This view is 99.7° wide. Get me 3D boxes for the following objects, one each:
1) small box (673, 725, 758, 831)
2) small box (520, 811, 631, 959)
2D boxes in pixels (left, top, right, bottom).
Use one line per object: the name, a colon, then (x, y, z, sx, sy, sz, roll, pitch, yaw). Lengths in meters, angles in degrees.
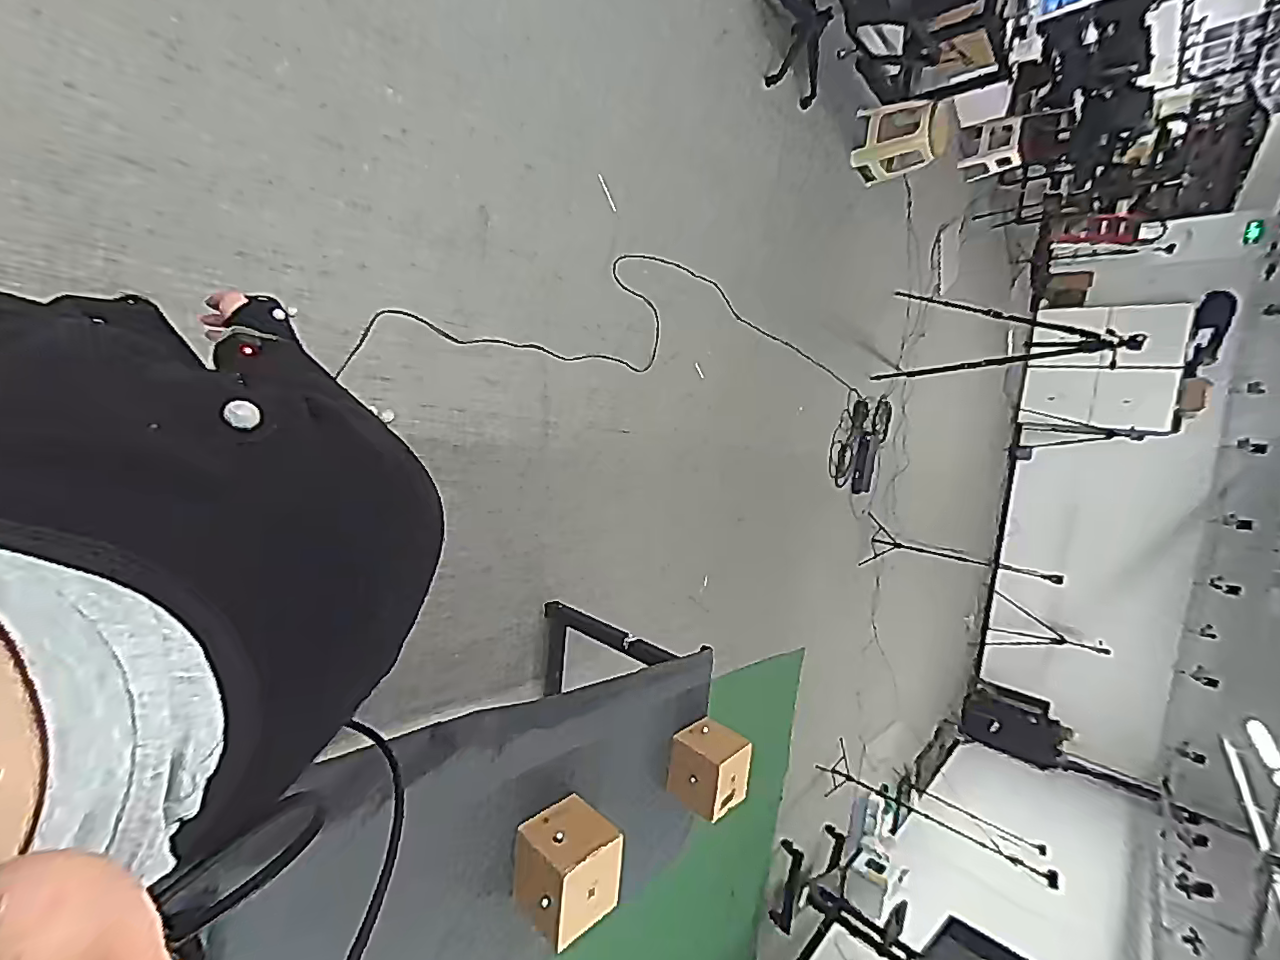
small box: (0.211, 0.836, 1.537, 0.168, 0.176, 0.179, -1, 98, -48)
small box: (-0.141, 0.851, 1.158, 0.168, 0.176, 0.179, -2, 100, -46)
